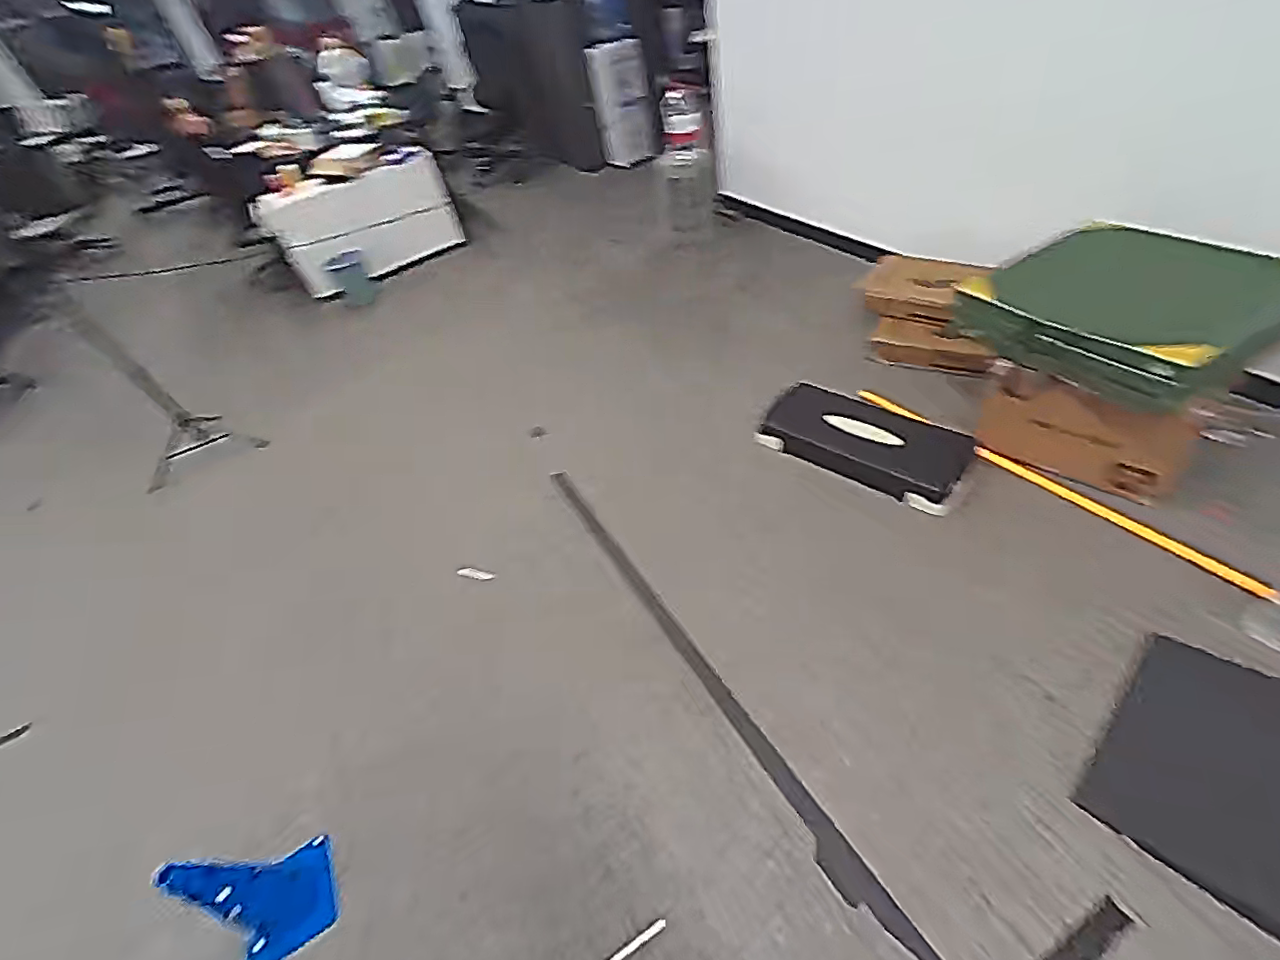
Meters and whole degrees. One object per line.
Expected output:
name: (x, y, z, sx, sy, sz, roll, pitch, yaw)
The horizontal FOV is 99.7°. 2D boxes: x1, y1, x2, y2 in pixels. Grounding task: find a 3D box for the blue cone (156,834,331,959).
blue cone: (-0.830, 0.833, 1.114, 0.193, 0.380, 0.192, -28, 45, -13)
